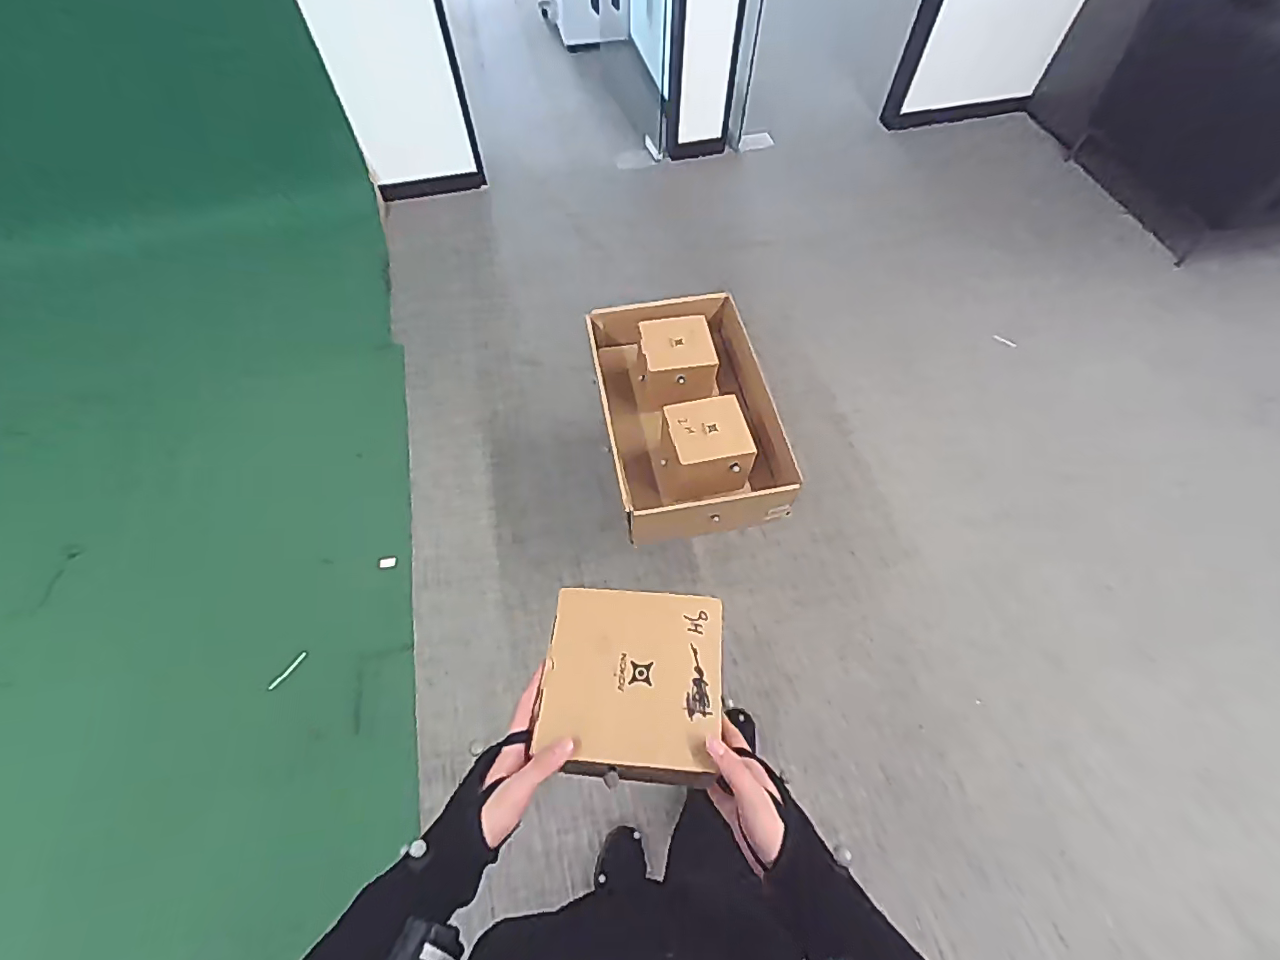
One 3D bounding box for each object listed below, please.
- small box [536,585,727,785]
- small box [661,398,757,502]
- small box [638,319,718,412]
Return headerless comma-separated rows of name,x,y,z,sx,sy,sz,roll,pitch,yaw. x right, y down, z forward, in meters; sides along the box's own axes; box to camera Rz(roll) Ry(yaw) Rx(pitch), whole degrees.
small box,0.001,0.230,0.595,0.179,0.176,0.168,3,56,4
small box,0.153,-0.067,1.270,0.179,0.176,0.168,-10,60,-7
small box,0.091,-0.292,1.402,0.179,0.176,0.168,-7,61,-6
